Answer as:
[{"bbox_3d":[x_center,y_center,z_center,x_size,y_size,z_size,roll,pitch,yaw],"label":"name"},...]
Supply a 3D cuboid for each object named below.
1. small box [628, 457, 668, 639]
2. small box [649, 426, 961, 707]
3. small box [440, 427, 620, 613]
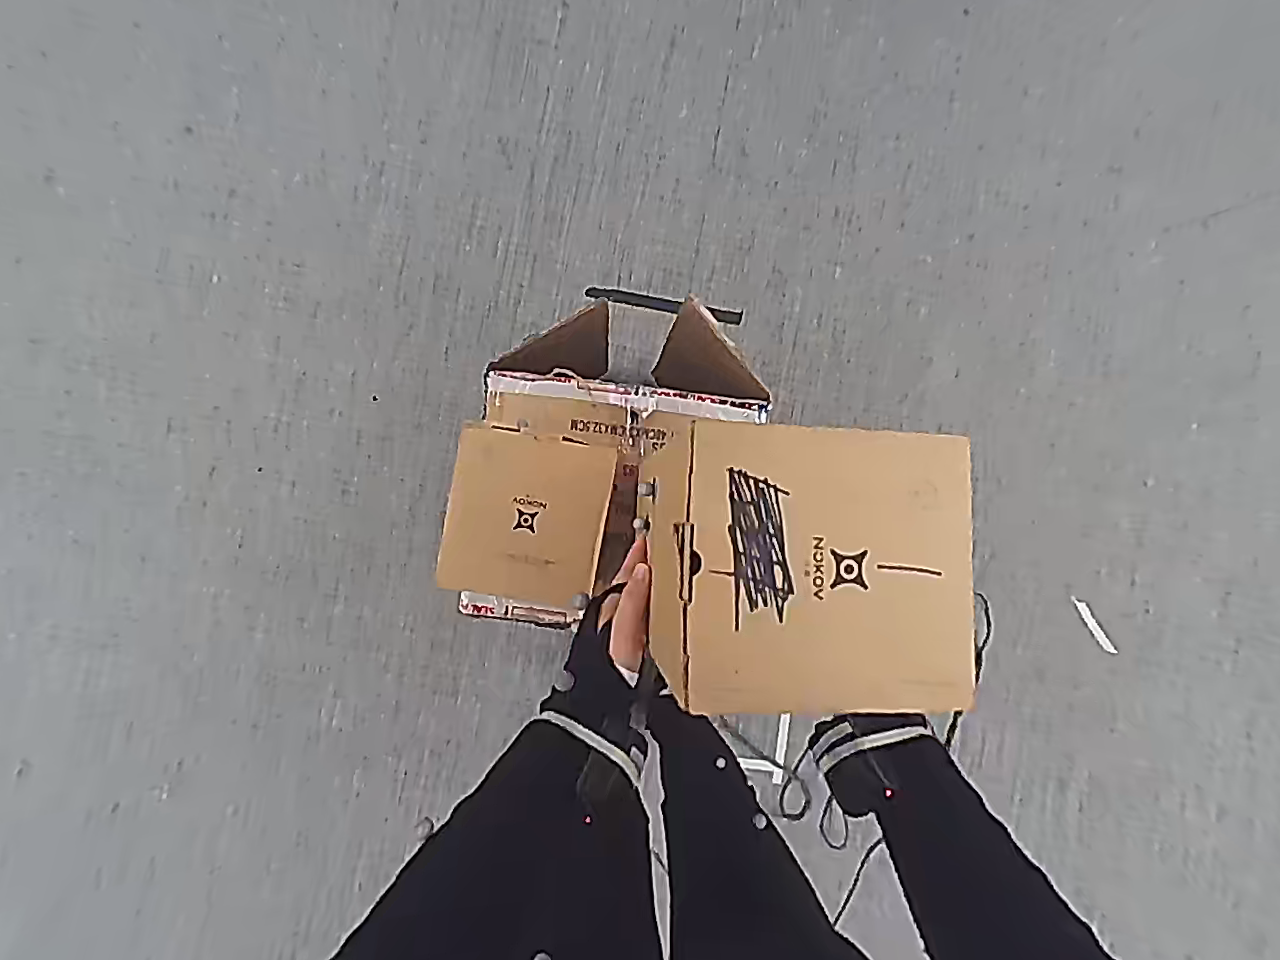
[{"bbox_3d":[0.086,0.069,0.570,0.179,0.176,0.168,2,85,-7],"label":"small box"},{"bbox_3d":[0.103,0.060,0.405,0.179,0.176,0.168,2,85,-7],"label":"small box"},{"bbox_3d":[-0.119,0.041,0.647,0.168,0.176,0.179,10,91,-1],"label":"small box"}]
